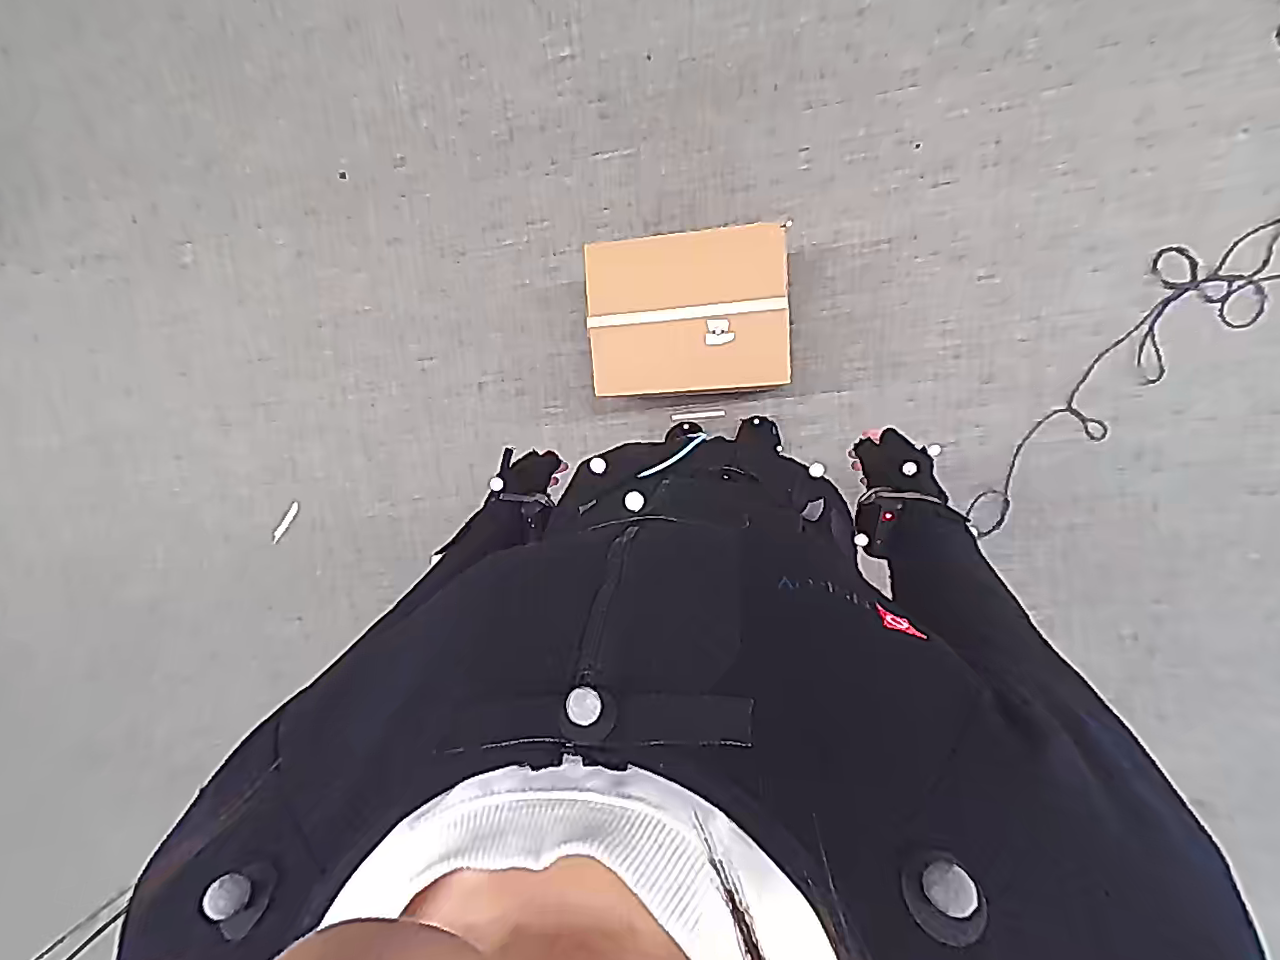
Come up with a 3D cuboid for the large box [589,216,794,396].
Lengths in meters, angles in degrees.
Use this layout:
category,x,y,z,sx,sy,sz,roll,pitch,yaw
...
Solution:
category,x,y,z,sx,sy,sz,roll,pitch,yaw
large box,0.125,-0.367,1.239,0.408,0.320,0.320,-2,98,10
